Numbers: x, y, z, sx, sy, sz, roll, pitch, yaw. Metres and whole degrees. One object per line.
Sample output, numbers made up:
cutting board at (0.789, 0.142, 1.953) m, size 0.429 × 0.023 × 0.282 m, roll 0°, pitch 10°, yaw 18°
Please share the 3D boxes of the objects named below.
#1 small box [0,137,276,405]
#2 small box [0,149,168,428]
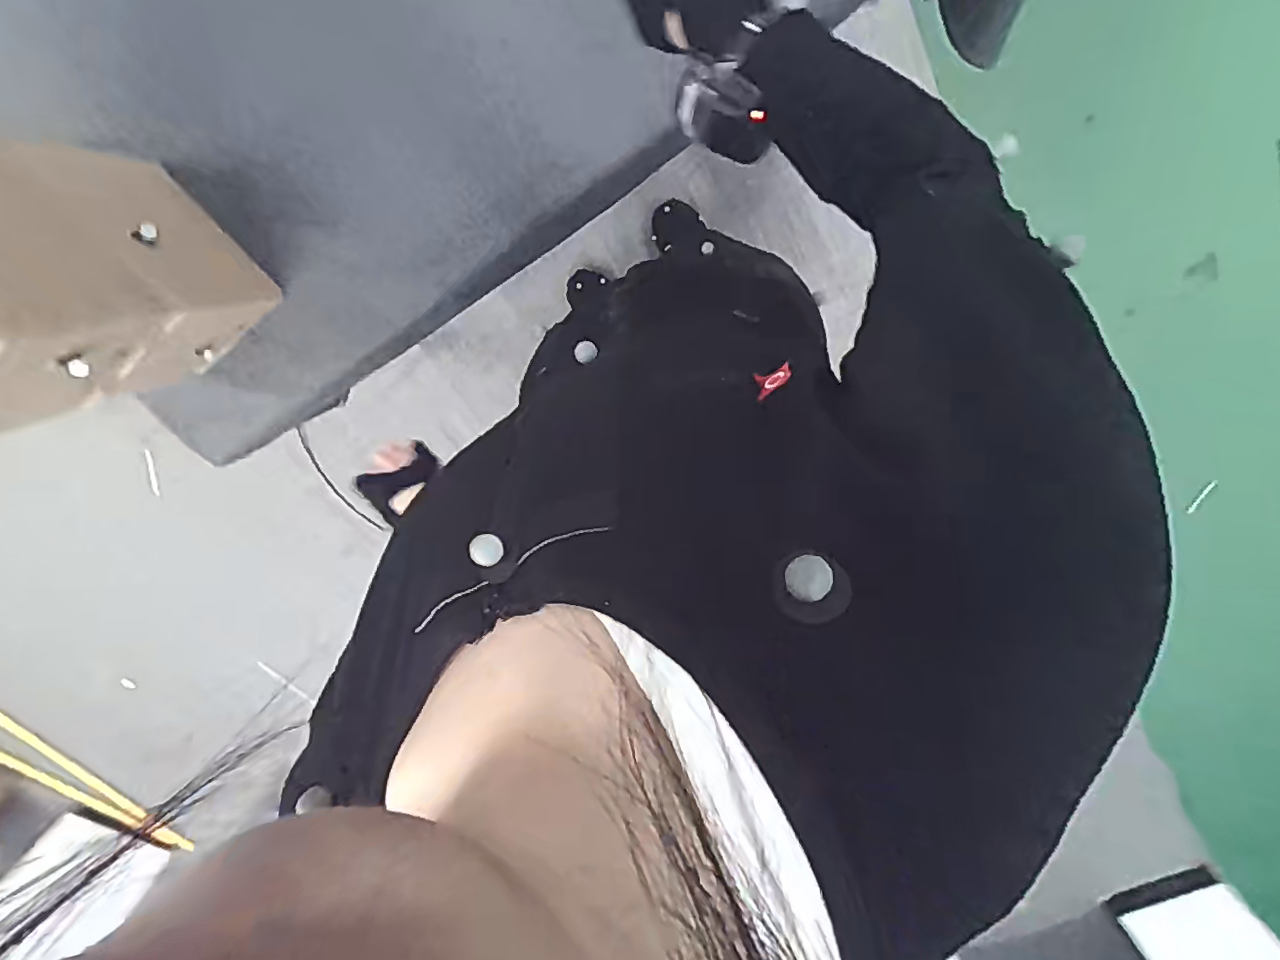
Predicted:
small box at (-0.544, -0.212, 0.567) m, size 0.168 × 0.176 × 0.179 m, roll -34°, pitch 112°, yaw 13°
small box at (-0.540, -0.145, 0.418) m, size 0.168 × 0.176 × 0.179 m, roll -34°, pitch 112°, yaw 12°
